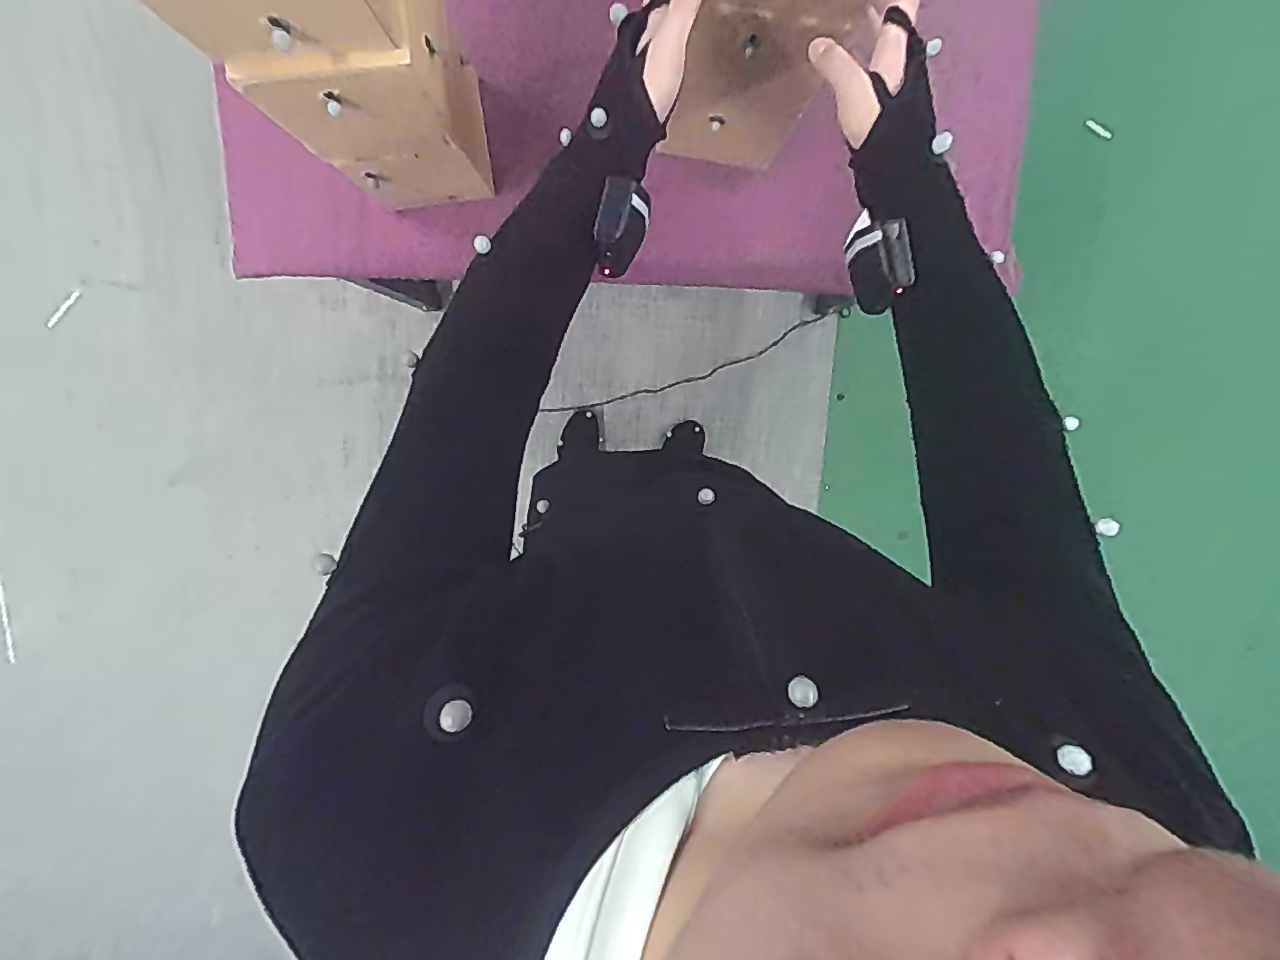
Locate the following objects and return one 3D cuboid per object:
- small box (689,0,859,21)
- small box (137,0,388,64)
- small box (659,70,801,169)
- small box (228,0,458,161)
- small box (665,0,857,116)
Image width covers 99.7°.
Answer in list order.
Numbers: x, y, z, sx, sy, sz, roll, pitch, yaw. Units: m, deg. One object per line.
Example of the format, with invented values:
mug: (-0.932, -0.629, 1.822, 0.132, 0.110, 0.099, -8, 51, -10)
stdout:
small box: (0.128, -0.499, 0.412, 0.179, 0.176, 0.168, 7, 99, -2)
small box: (-0.313, -0.457, 0.411, 0.179, 0.176, 0.168, -4, 98, 0)
small box: (0.124, -0.552, 0.735, 0.179, 0.176, 0.168, 8, 99, -3)
small box: (-0.306, -0.466, 0.576, 0.179, 0.176, 0.168, -5, 98, 0)
small box: (0.125, -0.523, 0.575, 0.179, 0.176, 0.168, 8, 100, -3)
